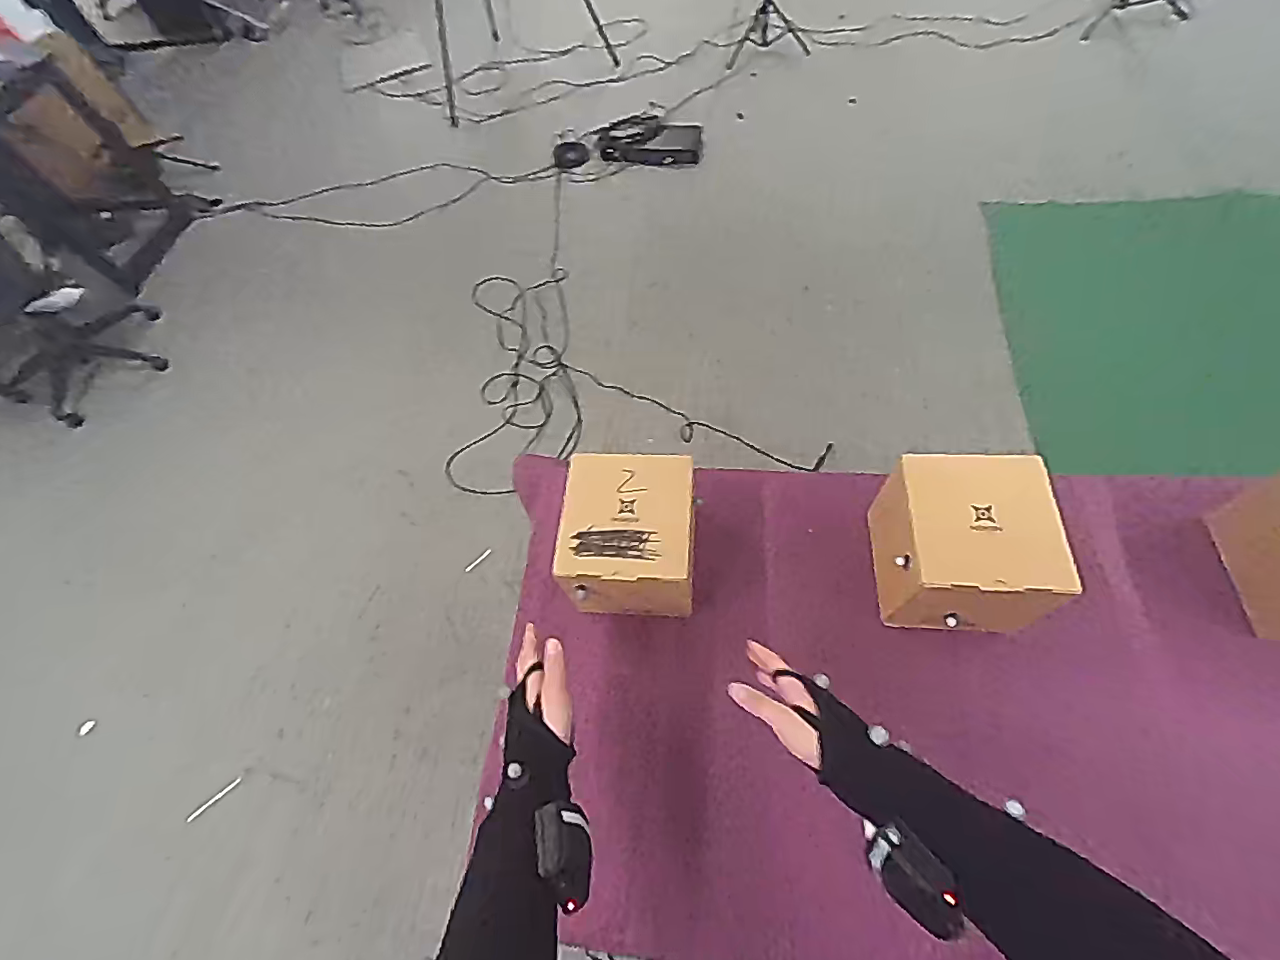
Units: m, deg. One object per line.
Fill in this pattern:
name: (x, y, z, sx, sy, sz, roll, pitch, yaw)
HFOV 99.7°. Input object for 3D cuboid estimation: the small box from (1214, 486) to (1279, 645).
small box: (0.849, 0.091, 0.631, 0.168, 0.176, 0.179, 1, 61, 11)

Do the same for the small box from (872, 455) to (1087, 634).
small box: (0.412, 0.086, 0.696, 0.168, 0.176, 0.179, 1, 61, 8)
